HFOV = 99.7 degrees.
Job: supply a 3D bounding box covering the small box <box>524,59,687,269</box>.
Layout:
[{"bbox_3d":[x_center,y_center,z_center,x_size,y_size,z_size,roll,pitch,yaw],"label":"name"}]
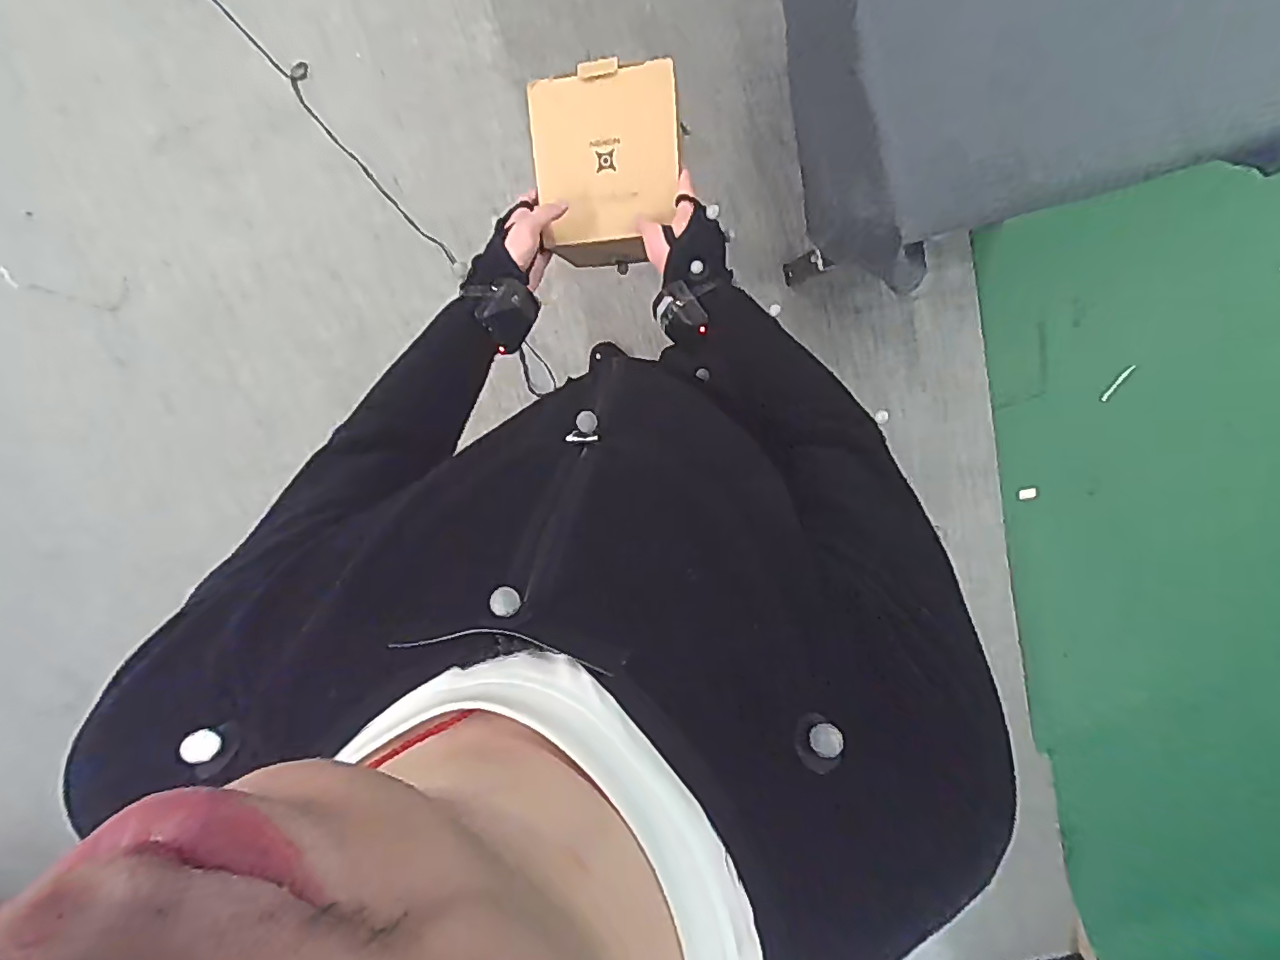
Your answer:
[{"bbox_3d":[-0.031,-0.370,0.667,0.168,0.176,0.179,0,103,10],"label":"small box"}]
